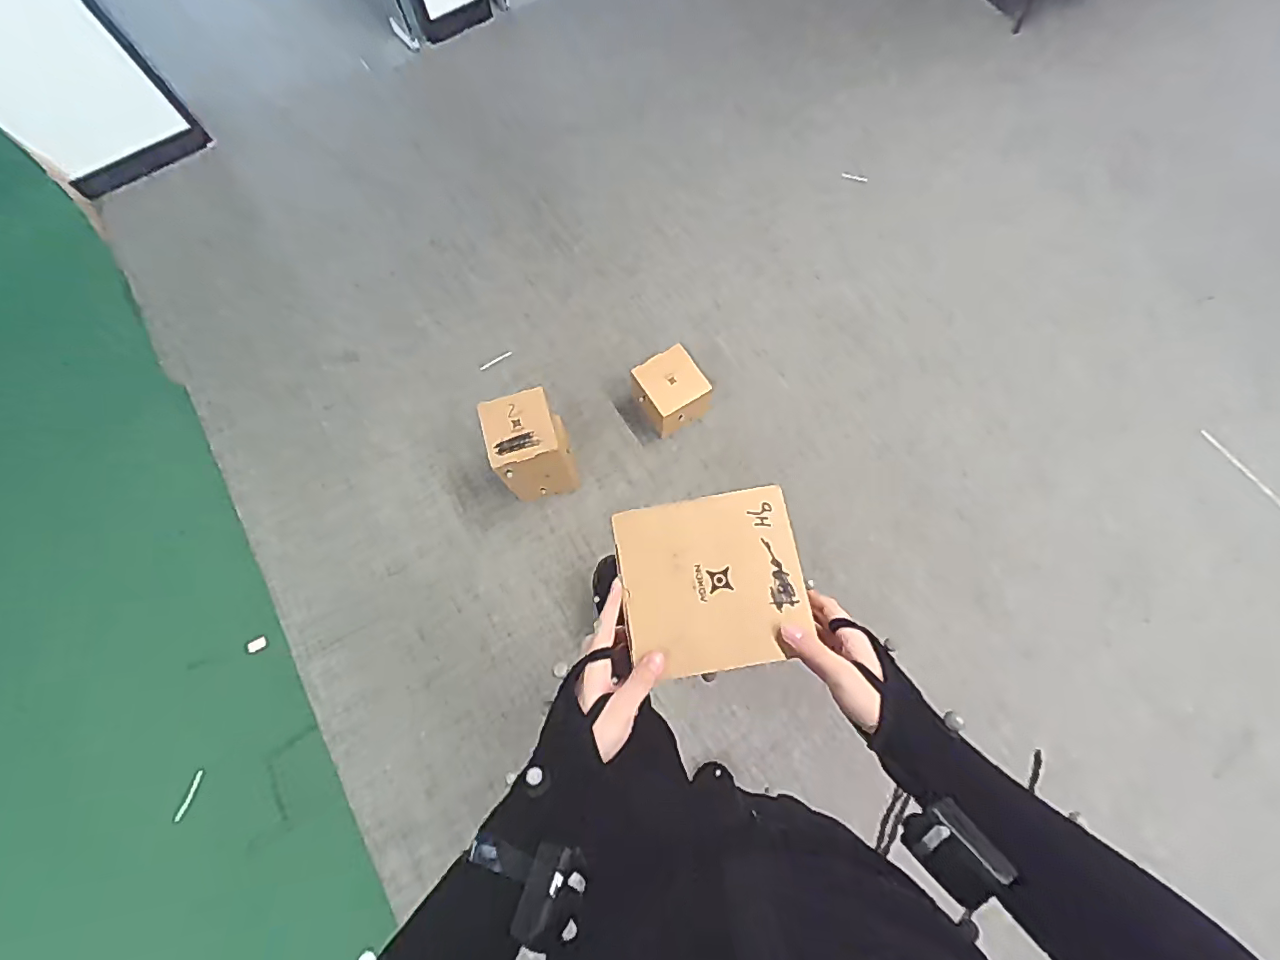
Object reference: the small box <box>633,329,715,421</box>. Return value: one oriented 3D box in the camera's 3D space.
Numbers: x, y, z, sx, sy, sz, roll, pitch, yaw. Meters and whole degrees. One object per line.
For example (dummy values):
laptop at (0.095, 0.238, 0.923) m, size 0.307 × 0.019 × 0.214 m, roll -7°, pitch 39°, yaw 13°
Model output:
small box at (0.096, -0.290, 1.553) m, size 0.168 × 0.176 × 0.179 m, roll -30°, pitch 74°, yaw -7°

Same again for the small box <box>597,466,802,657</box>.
small box at (0.059, 0.095, 0.581) m, size 0.179 × 0.176 × 0.168 m, roll -7°, pitch 75°, yaw 3°

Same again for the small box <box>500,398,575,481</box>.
small box at (-0.280, -0.104, 1.503) m, size 0.168 × 0.176 × 0.179 m, roll -10°, pitch 72°, yaw -2°
